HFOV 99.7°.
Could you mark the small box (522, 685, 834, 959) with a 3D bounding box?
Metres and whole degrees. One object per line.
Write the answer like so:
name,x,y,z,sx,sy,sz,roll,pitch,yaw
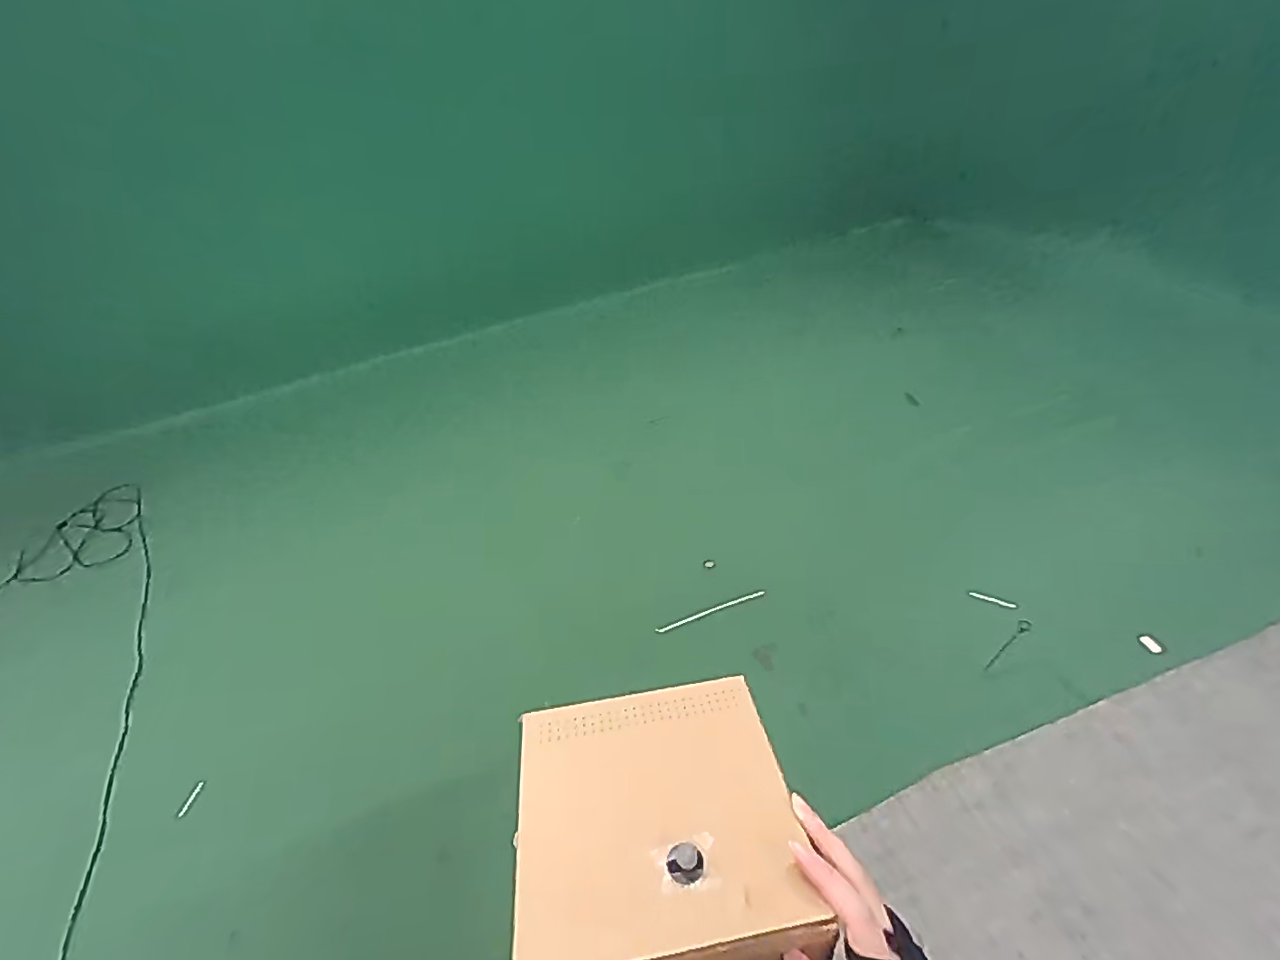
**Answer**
small box,0.013,0.274,0.392,0.179,0.168,0.176,-8,30,-5
